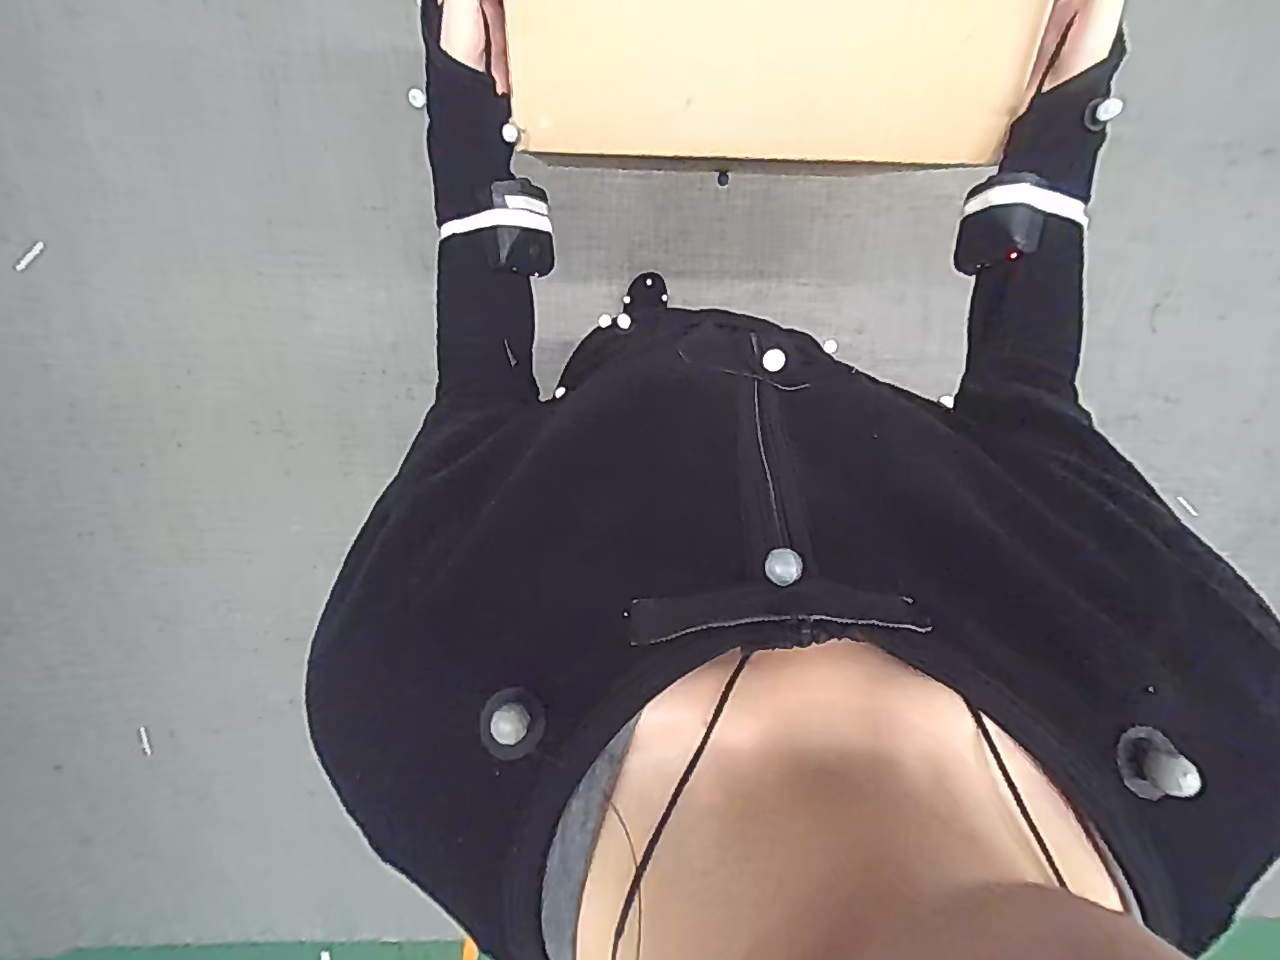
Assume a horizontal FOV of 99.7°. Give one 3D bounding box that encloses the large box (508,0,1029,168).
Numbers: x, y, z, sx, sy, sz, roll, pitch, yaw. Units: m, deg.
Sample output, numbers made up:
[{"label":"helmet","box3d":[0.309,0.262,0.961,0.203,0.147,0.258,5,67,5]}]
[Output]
[{"label":"large box","box3d":[0.095,-0.475,0.510,0.408,0.320,0.320,-1,117,-3]}]
